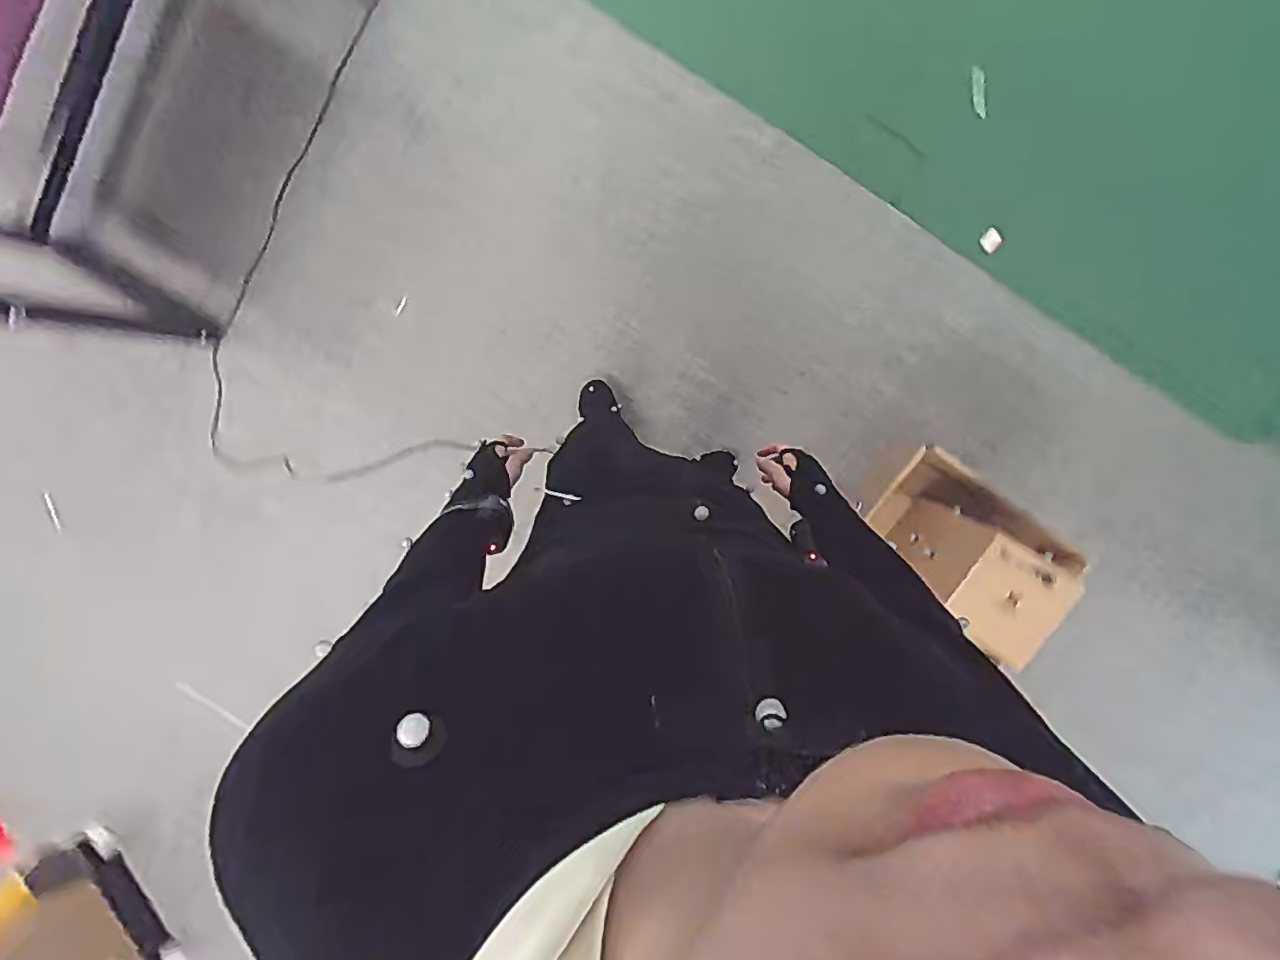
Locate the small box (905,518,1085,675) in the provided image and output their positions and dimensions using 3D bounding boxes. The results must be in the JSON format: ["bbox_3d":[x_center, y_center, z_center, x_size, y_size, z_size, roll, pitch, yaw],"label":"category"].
[{"bbox_3d":[0.594,0.192,0.938,0.168,0.176,0.179,32,101,0],"label":"small box"}]

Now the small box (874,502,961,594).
[{"bbox_3d":[0.610,0.167,1.099,0.168,0.176,0.179,34,101,0],"label":"small box"}]
